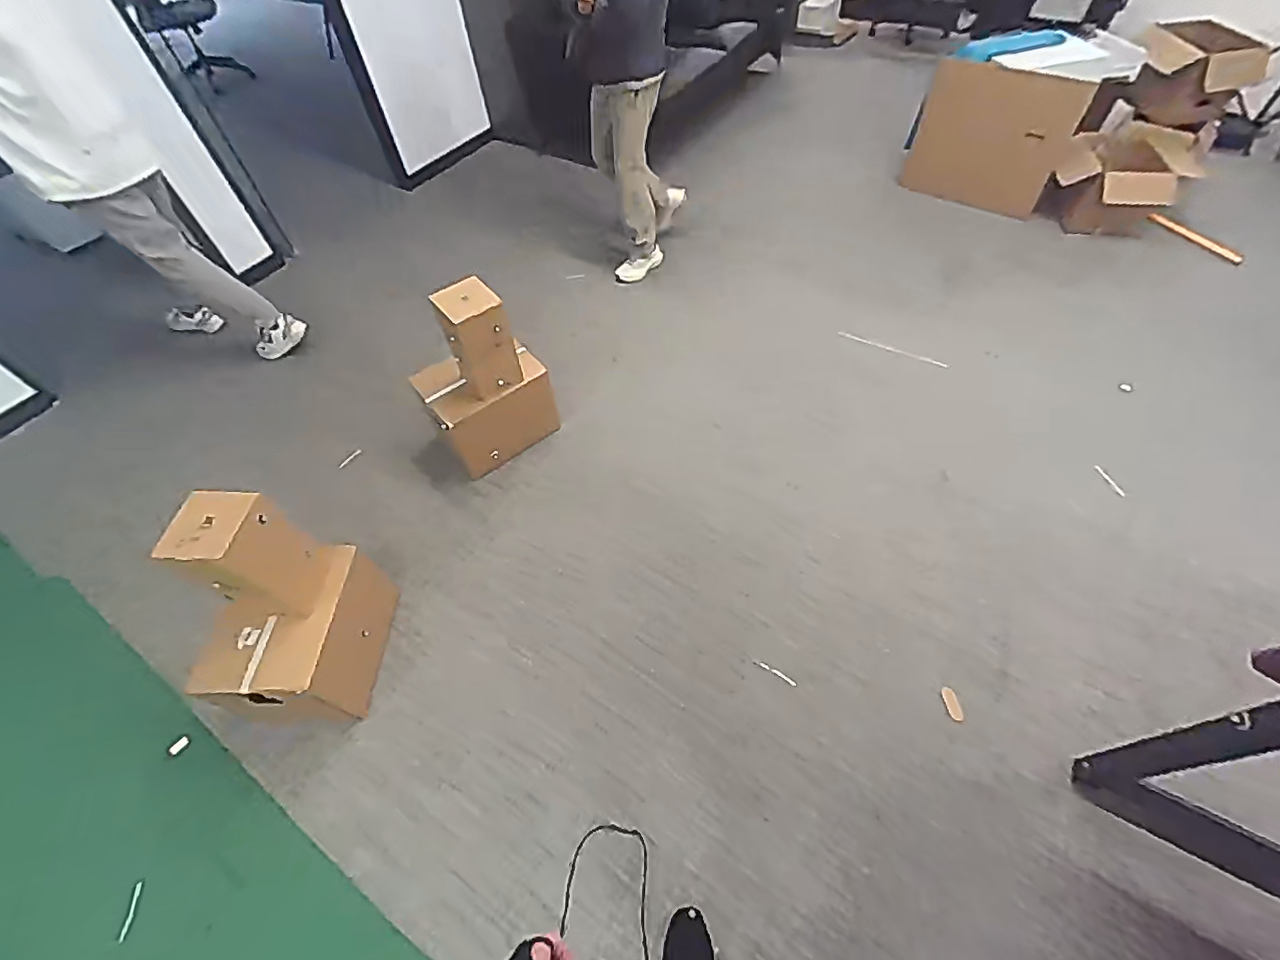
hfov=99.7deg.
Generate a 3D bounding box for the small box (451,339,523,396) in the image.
[{"bbox_3d":[-0.522,-0.418,1.836,0.168,0.176,0.179,-33,61,-19],"label":"small box"}]

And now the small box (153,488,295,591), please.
[{"bbox_3d":[-0.948,0.139,1.256,0.168,0.176,0.179,1,55,5],"label":"small box"}]

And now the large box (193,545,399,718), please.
[{"bbox_3d":[-0.940,0.436,1.549,0.320,0.320,0.408,-3,55,3],"label":"large box"}]

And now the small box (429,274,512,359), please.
[{"bbox_3d":[-0.527,-0.507,1.699,0.168,0.176,0.179,-34,60,-20],"label":"small box"}]
